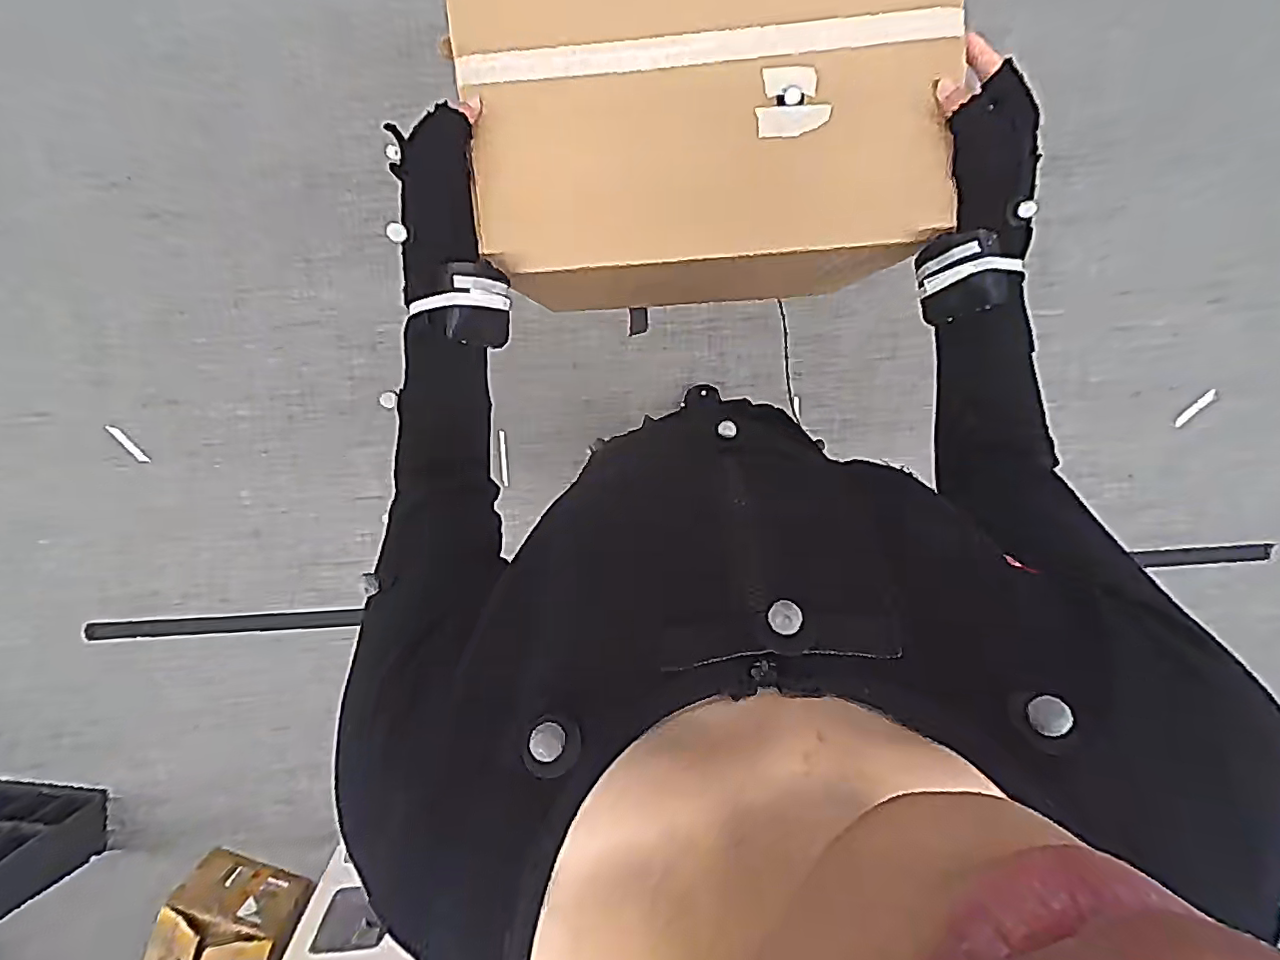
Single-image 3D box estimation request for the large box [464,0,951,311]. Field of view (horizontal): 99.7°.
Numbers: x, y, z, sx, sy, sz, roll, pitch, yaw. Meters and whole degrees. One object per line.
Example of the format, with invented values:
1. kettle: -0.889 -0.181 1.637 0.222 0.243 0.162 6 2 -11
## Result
1. large box: 0.057 -0.379 0.597 0.408 0.320 0.320 -4 102 2
